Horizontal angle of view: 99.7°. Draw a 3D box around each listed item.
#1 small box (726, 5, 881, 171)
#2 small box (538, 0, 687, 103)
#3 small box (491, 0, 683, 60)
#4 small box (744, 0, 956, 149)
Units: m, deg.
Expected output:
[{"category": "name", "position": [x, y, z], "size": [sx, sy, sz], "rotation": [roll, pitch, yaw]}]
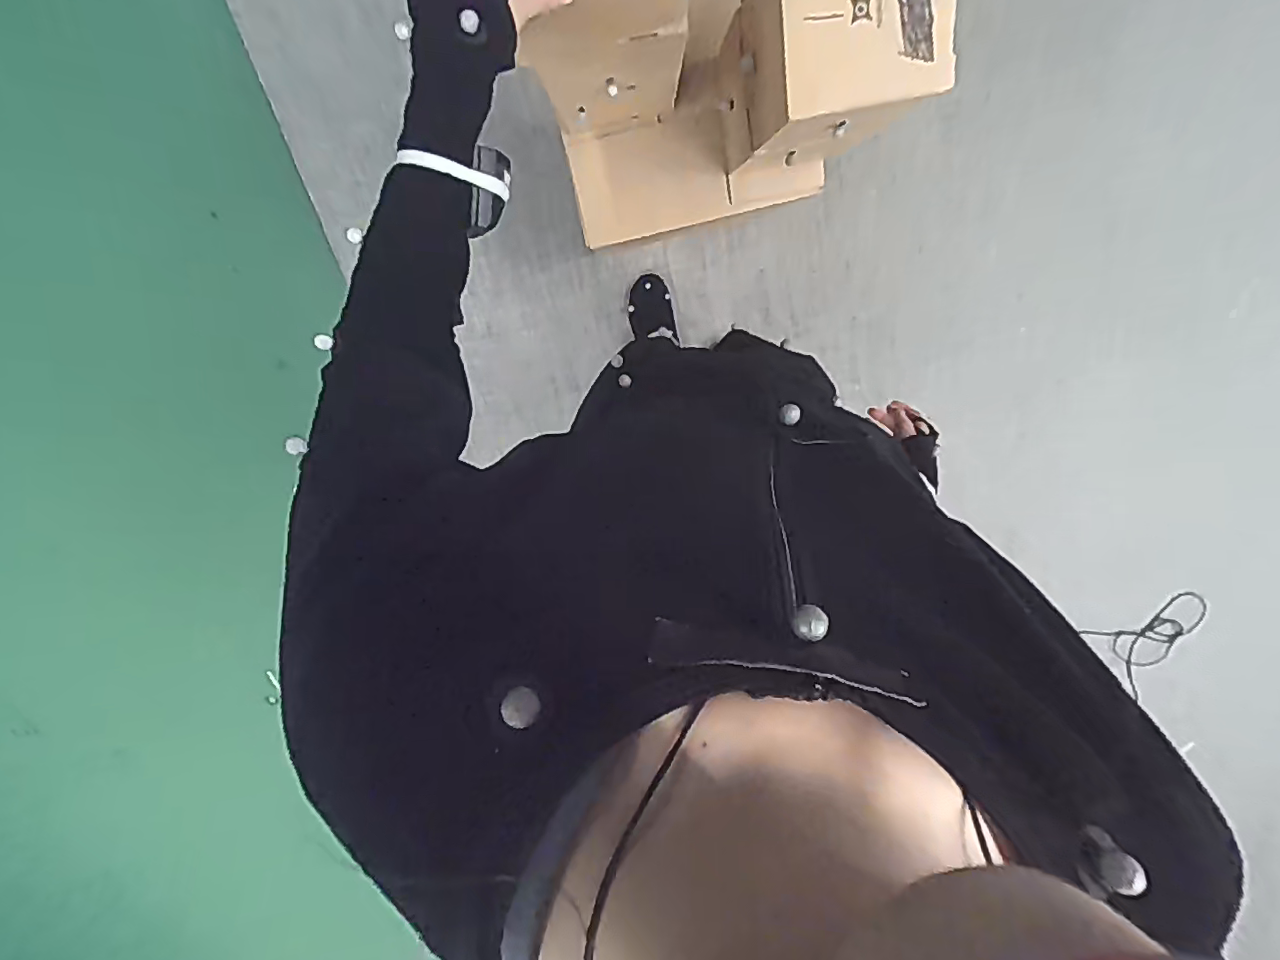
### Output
[{"category": "small box", "position": [0.220, -0.552, 0.762], "size": [0.179, 0.176, 0.168], "rotation": [-10, 113, 4]}, {"category": "small box", "position": [-0.043, -0.549, 0.592], "size": [0.168, 0.176, 0.179], "rotation": [-7, 111, 4]}, {"category": "small box", "position": [-0.058, -0.485, 0.442], "size": [0.179, 0.176, 0.168], "rotation": [-12, 110, 5]}, {"category": "small box", "position": [0.225, -0.494, 0.609], "size": [0.179, 0.176, 0.168], "rotation": [-9, 111, 3]}]
